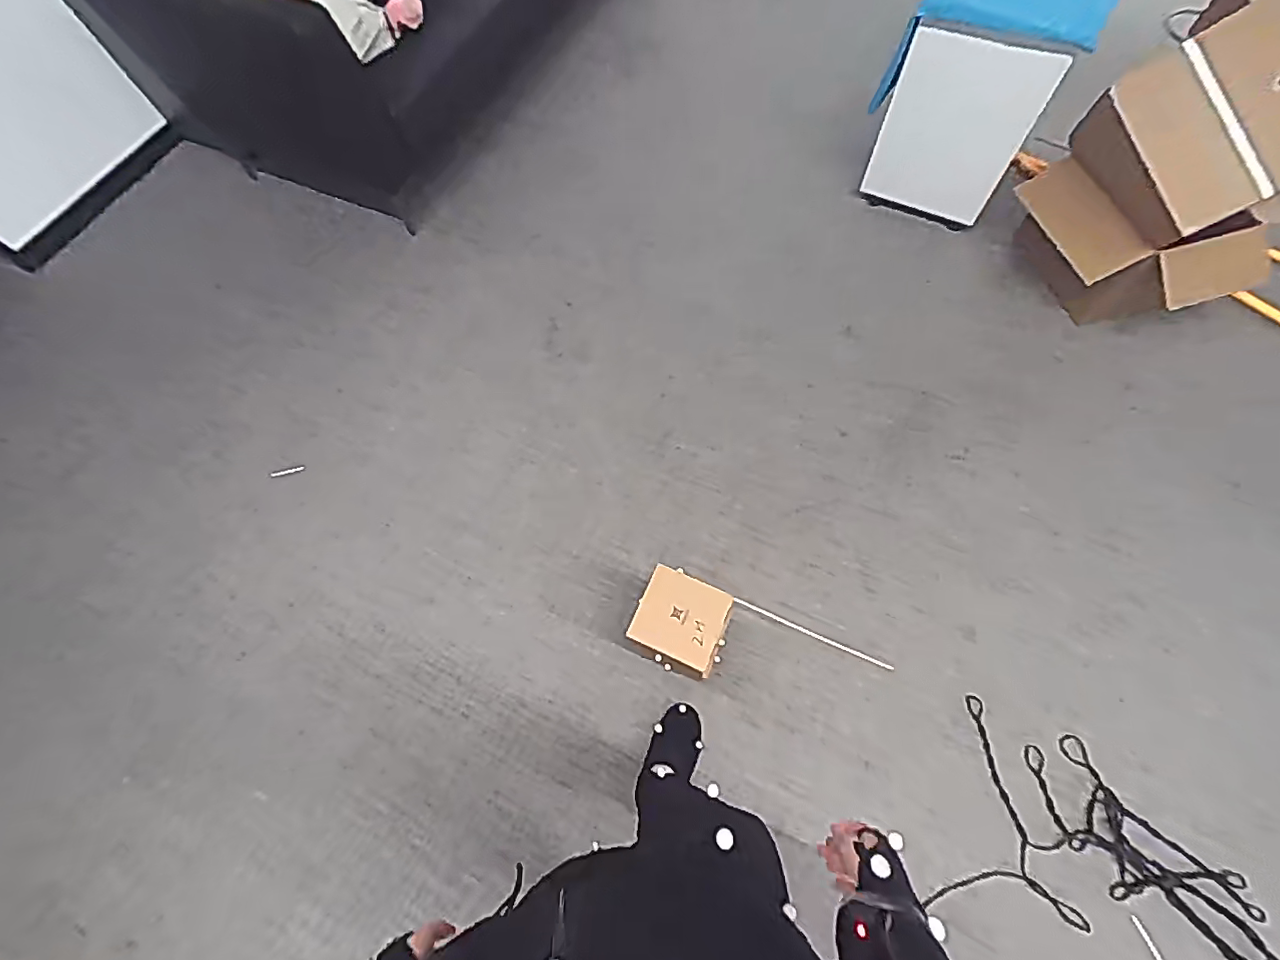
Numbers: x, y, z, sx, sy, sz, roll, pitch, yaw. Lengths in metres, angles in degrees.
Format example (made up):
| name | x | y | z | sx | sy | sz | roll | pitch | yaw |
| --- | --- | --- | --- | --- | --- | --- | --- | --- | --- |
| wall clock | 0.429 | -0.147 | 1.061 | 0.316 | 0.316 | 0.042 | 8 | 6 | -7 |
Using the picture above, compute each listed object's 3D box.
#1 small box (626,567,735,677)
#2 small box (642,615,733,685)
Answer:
| name | x | y | z | sx | sy | sz | roll | pitch | yaw |
| --- | --- | --- | --- | --- | --- | --- | --- | --- | --- |
| small box | 0.088 | 0.313 | 1.166 | 0.179 | 0.176 | 0.168 | 22 | 70 | 13 |
| small box | 0.109 | 0.385 | 1.313 | 0.179 | 0.176 | 0.168 | 22 | 69 | 13 |
